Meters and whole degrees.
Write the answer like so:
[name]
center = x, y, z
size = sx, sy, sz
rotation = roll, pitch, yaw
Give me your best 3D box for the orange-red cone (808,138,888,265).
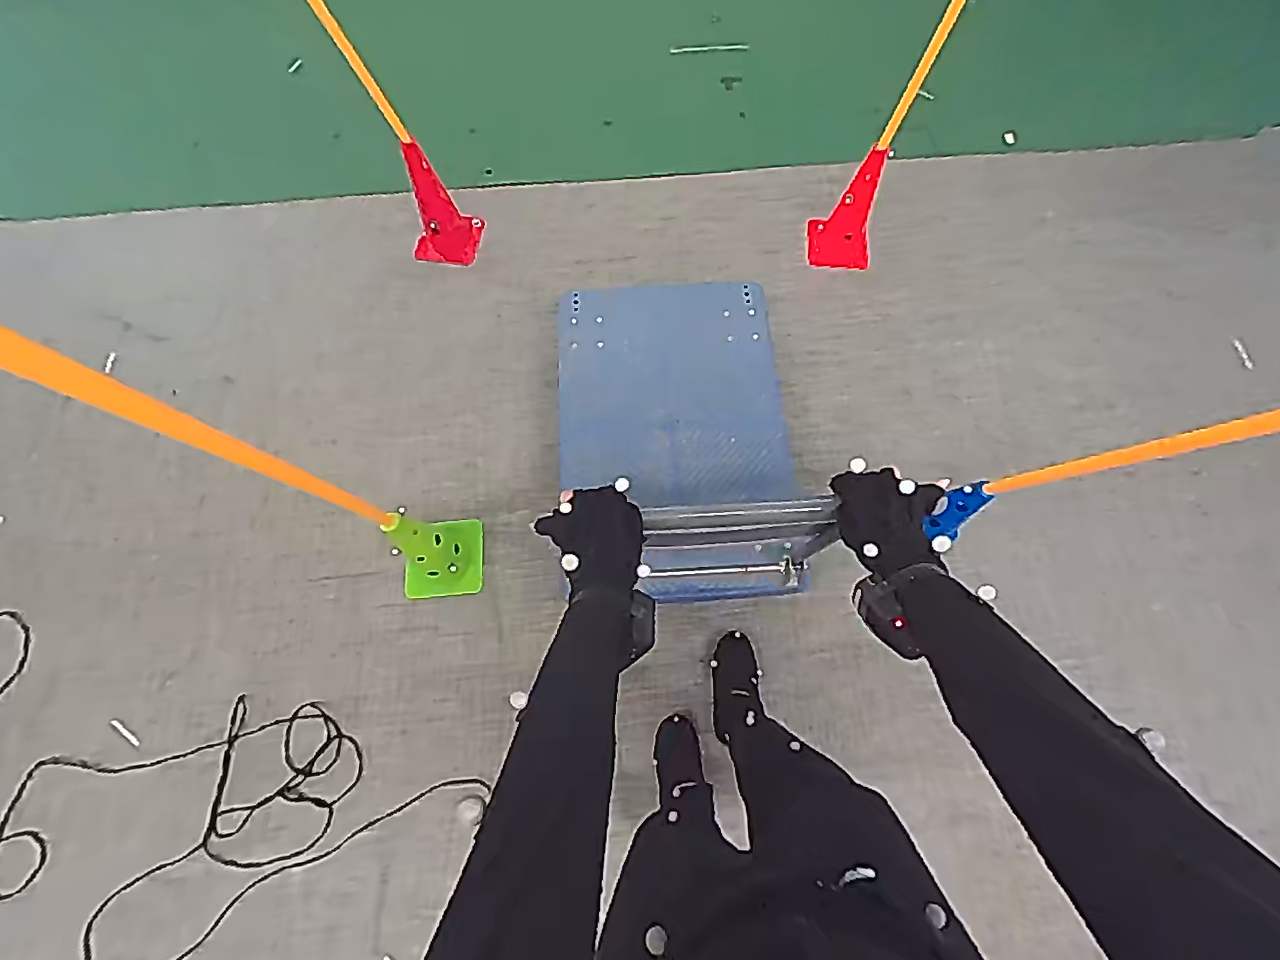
[orange-red cone]
center = 0.654, -0.849, 1.621
size = 0.198, 0.360, 0.199
rotation = 6, 71, 3
